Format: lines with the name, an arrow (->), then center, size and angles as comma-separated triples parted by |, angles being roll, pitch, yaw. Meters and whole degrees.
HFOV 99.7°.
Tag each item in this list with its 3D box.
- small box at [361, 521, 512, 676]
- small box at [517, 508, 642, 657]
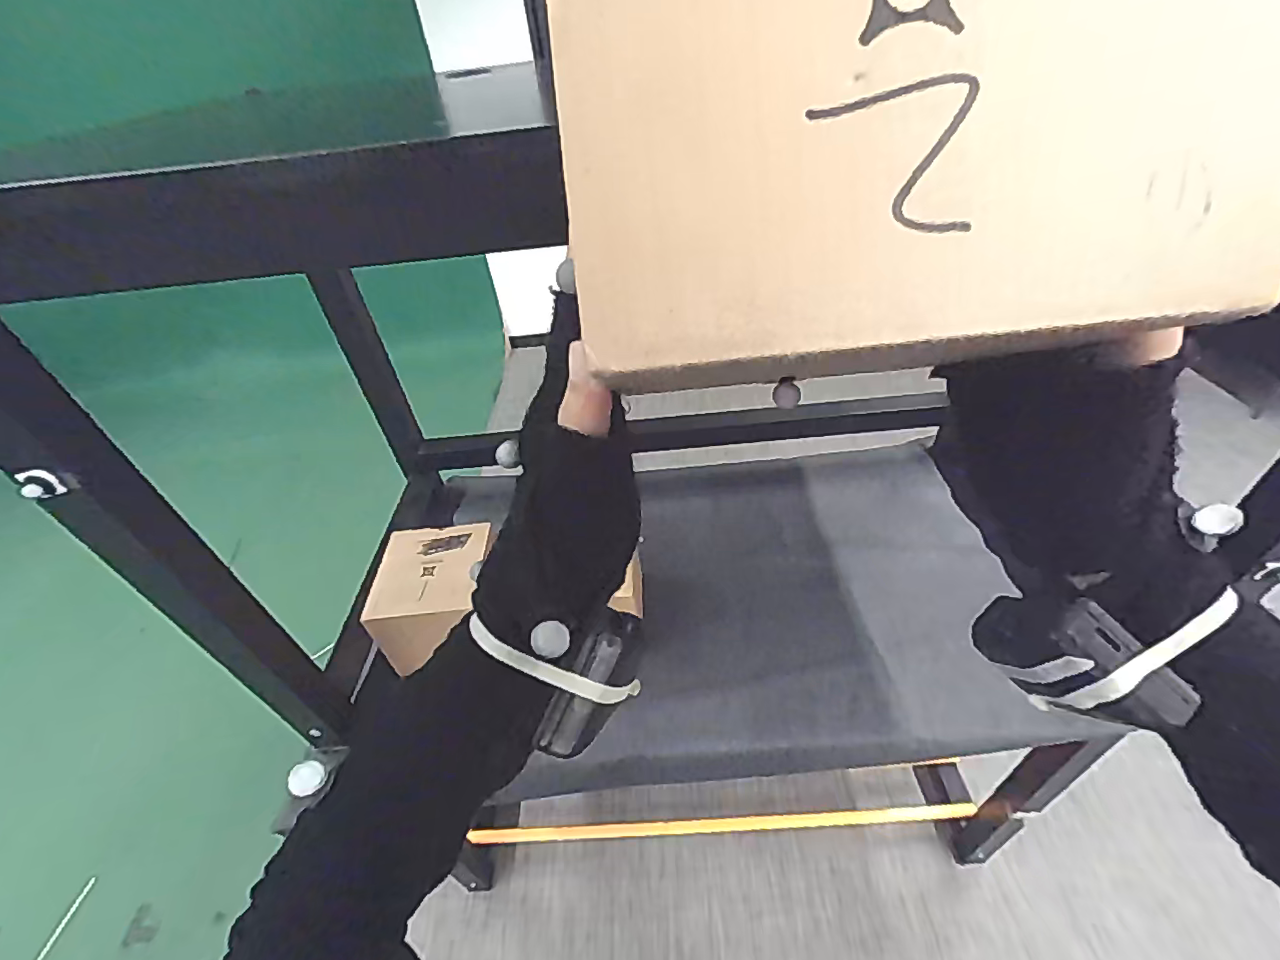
small box -> -0.313, 0.191, 0.877 | 0.168, 0.176, 0.179 | -6, 41, 1
small box -> -0.087, 0.170, 0.873 | 0.168, 0.176, 0.179 | -5, 40, 2
